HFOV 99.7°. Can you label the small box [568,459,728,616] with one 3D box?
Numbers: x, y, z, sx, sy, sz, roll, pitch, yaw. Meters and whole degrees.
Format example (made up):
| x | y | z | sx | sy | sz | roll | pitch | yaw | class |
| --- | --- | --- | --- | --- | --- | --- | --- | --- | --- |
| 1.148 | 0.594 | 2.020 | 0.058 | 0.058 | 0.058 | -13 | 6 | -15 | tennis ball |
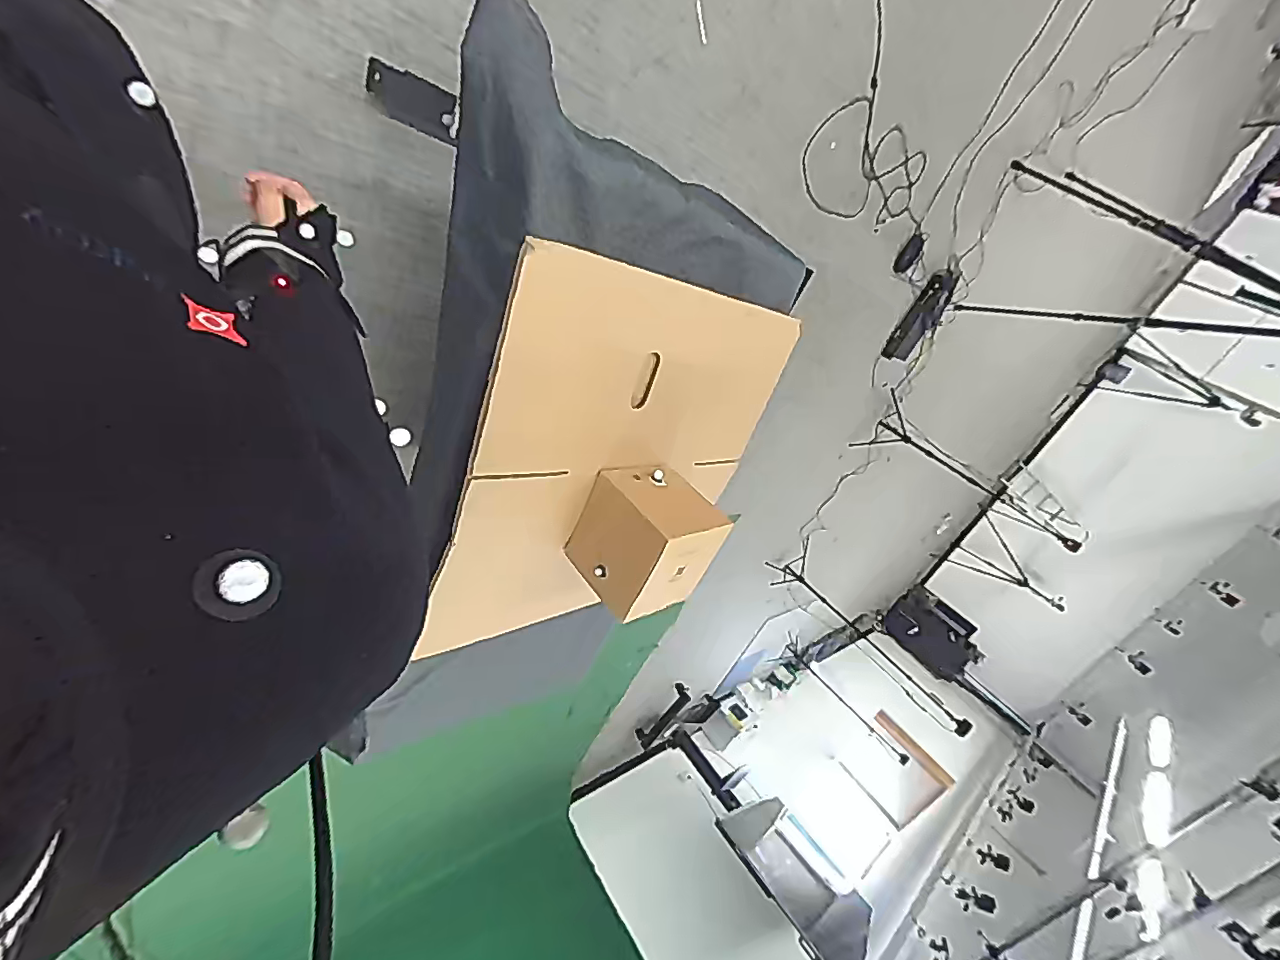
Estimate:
| x | y | z | sx | sy | sz | roll | pitch | yaw | class |
| --- | --- | --- | --- | --- | --- | --- | --- | --- | --- |
| 0.005 | 0.086 | 0.886 | 0.168 | 0.176 | 0.179 | -8 | 132 | -47 | small box |
